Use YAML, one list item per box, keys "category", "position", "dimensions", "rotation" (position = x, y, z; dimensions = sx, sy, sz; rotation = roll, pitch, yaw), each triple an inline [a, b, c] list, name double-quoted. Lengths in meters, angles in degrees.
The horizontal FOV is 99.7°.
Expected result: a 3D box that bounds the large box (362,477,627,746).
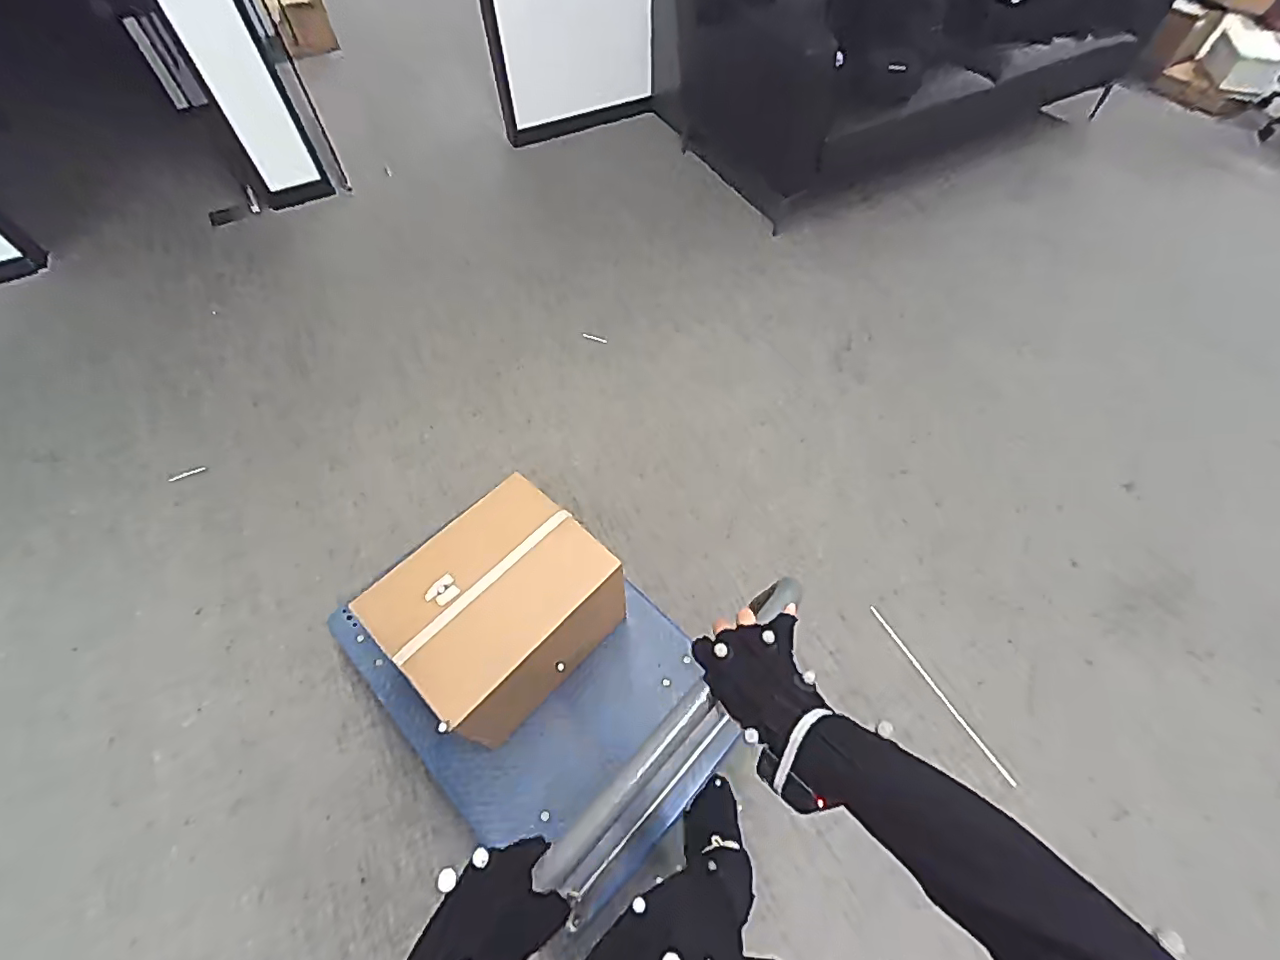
- category: "large box"
  position: [-0.270, 0.279, 1.143]
  dimensions: [0.320, 0.320, 0.408]
  rotation: [37, 66, 22]
